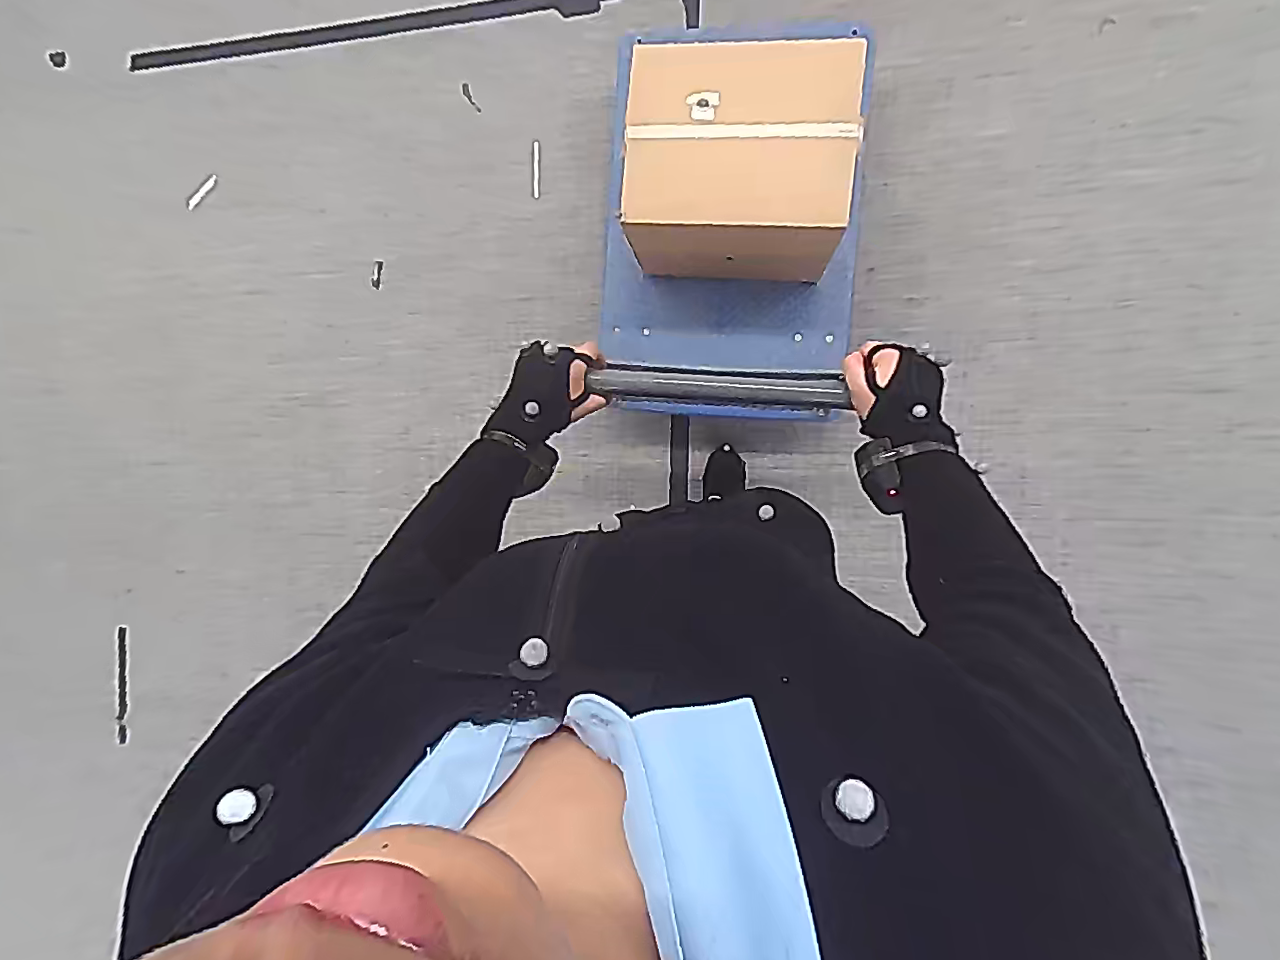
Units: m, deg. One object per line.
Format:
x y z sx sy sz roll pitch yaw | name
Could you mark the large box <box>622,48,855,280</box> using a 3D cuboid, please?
0.197 -0.616 1.121 0.408 0.320 0.320 5 93 10 | large box
